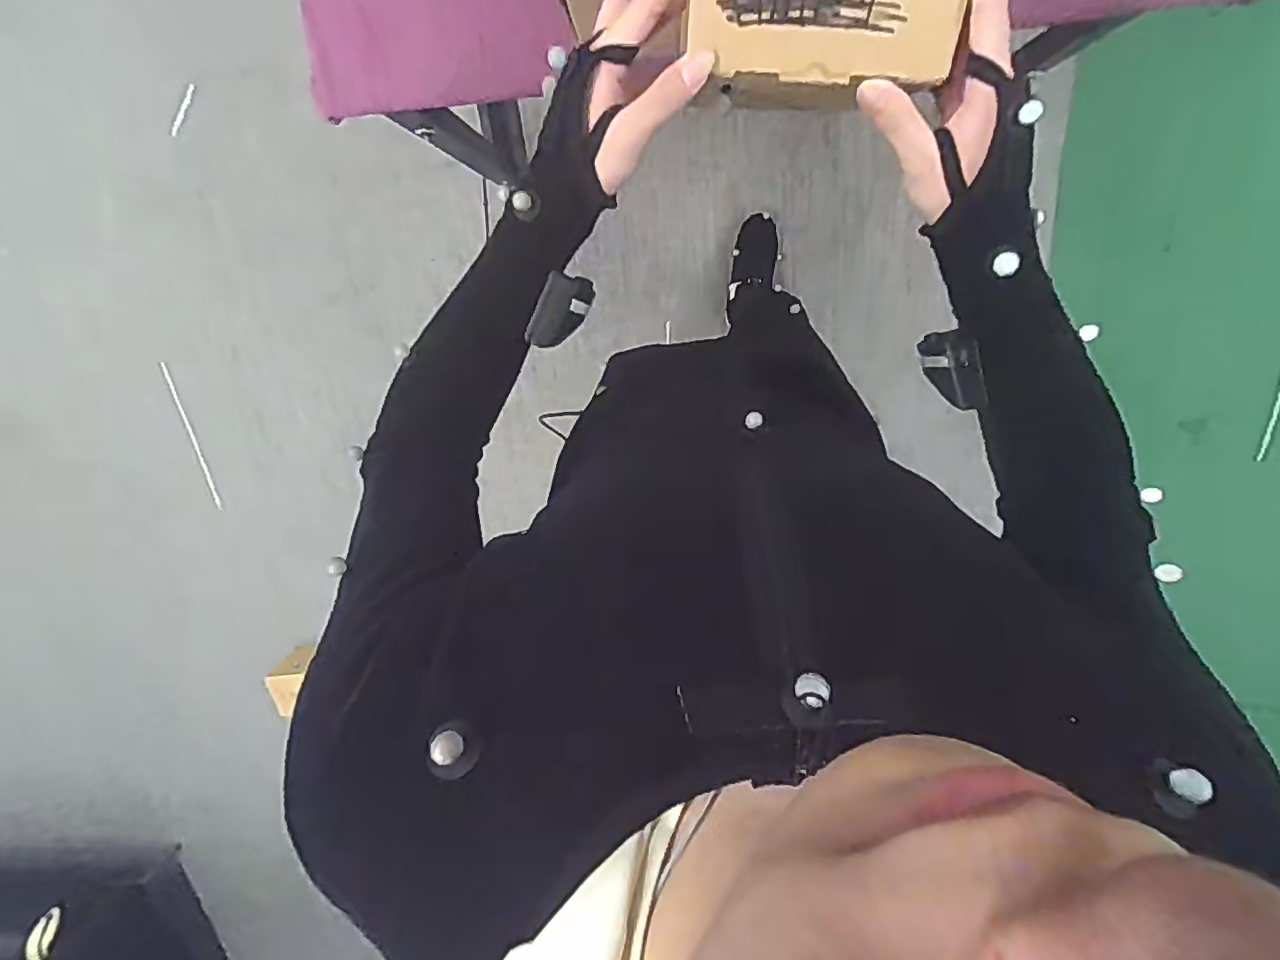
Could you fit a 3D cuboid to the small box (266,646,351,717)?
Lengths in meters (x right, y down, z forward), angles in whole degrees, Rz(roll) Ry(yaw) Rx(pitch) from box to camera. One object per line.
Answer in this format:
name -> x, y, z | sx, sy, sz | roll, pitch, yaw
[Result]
small box -> -1.144, 0.698, 1.890 | 0.179, 0.176, 0.168 | -7, 107, 7
